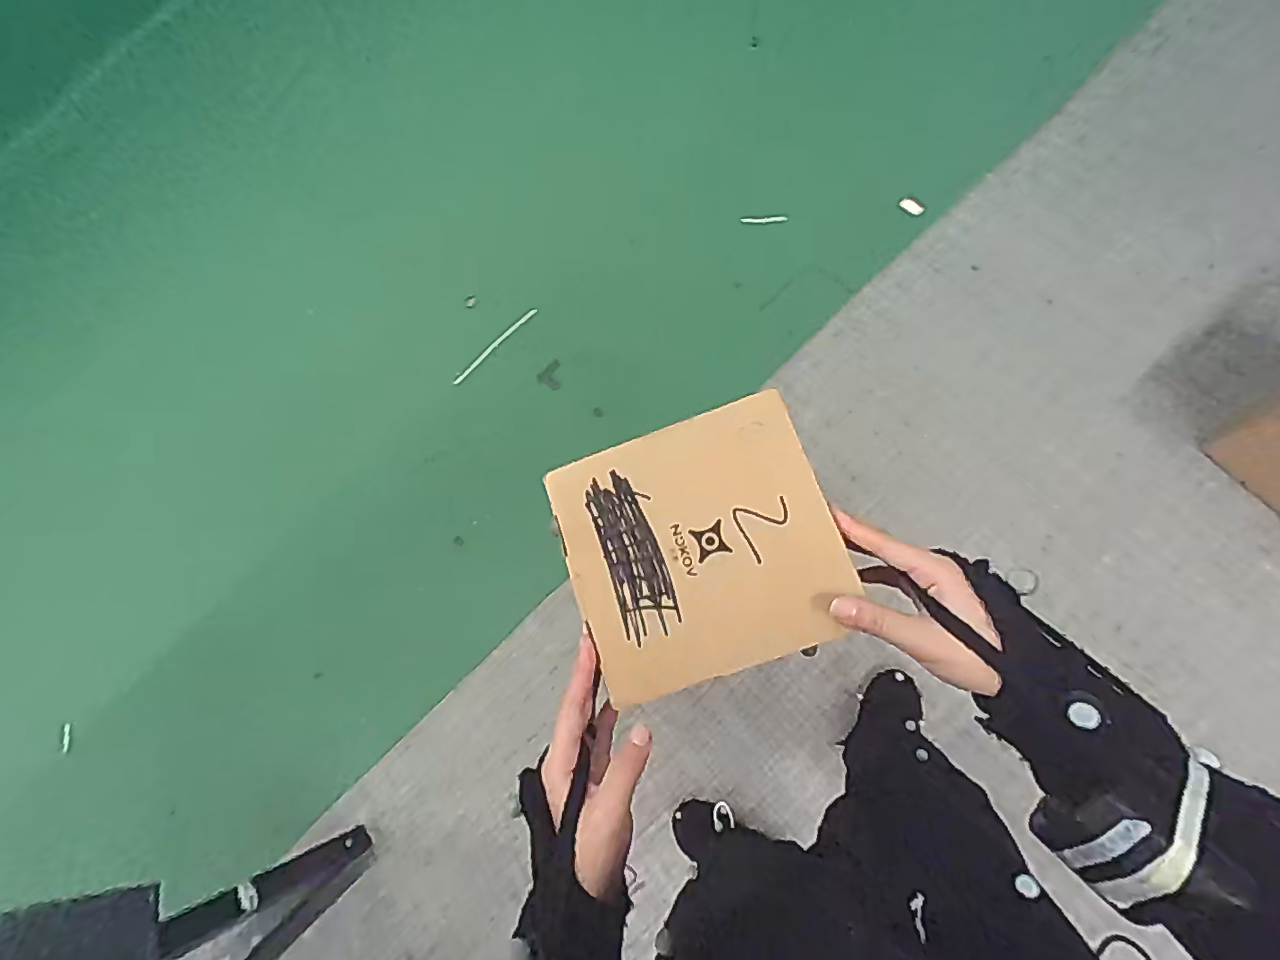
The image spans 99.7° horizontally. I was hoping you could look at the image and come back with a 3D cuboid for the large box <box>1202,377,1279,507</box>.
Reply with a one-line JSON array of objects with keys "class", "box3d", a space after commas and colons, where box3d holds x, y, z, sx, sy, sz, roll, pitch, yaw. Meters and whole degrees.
[{"class": "large box", "box3d": [1.344, -0.062, 0.904, 0.320, 0.320, 0.408, -38, 71, 1]}]
